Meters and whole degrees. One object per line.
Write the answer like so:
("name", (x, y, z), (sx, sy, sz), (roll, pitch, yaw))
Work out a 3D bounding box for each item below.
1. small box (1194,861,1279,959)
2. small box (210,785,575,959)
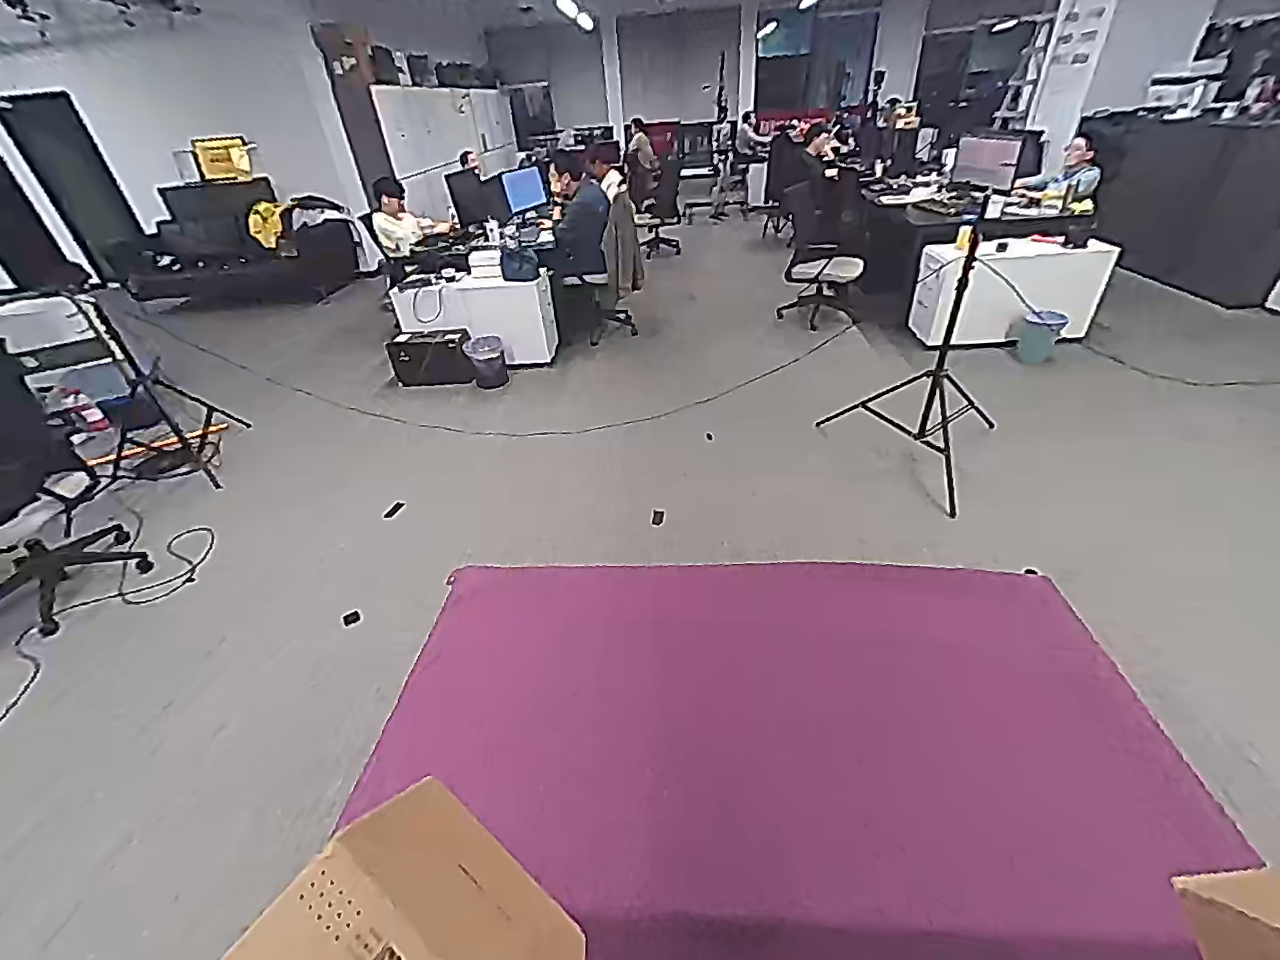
("small box", (0.422, 0.284, 0.240), (0.168, 0.179, 0.176), (-12, 65, 13))
("small box", (-0.149, 0.302, 0.297), (0.168, 0.179, 0.176), (40, 70, 10))
